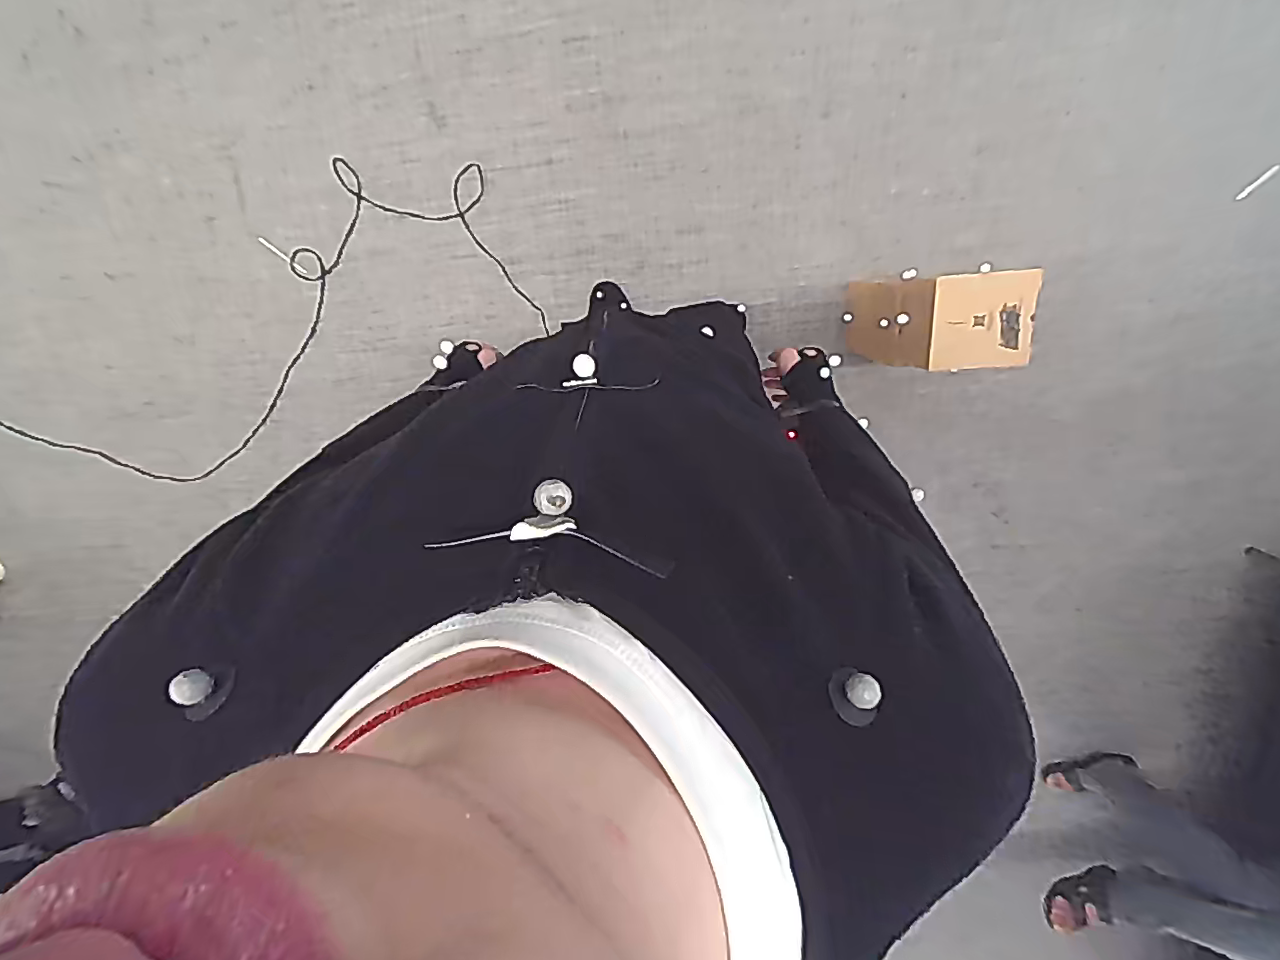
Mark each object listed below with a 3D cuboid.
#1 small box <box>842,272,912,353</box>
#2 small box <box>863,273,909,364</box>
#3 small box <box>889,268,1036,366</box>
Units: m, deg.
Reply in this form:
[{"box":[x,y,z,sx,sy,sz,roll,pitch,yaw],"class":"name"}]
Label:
[{"box":[0.613,-0.420,1.347,0.168,0.176,0.179,-3,111,3],"class":"small box"},{"box":[0.606,-0.364,1.196,0.168,0.176,0.179,-4,112,5],"class":"small box"},{"box":[0.604,-0.316,1.037,0.179,0.176,0.168,-3,109,5],"class":"small box"}]
